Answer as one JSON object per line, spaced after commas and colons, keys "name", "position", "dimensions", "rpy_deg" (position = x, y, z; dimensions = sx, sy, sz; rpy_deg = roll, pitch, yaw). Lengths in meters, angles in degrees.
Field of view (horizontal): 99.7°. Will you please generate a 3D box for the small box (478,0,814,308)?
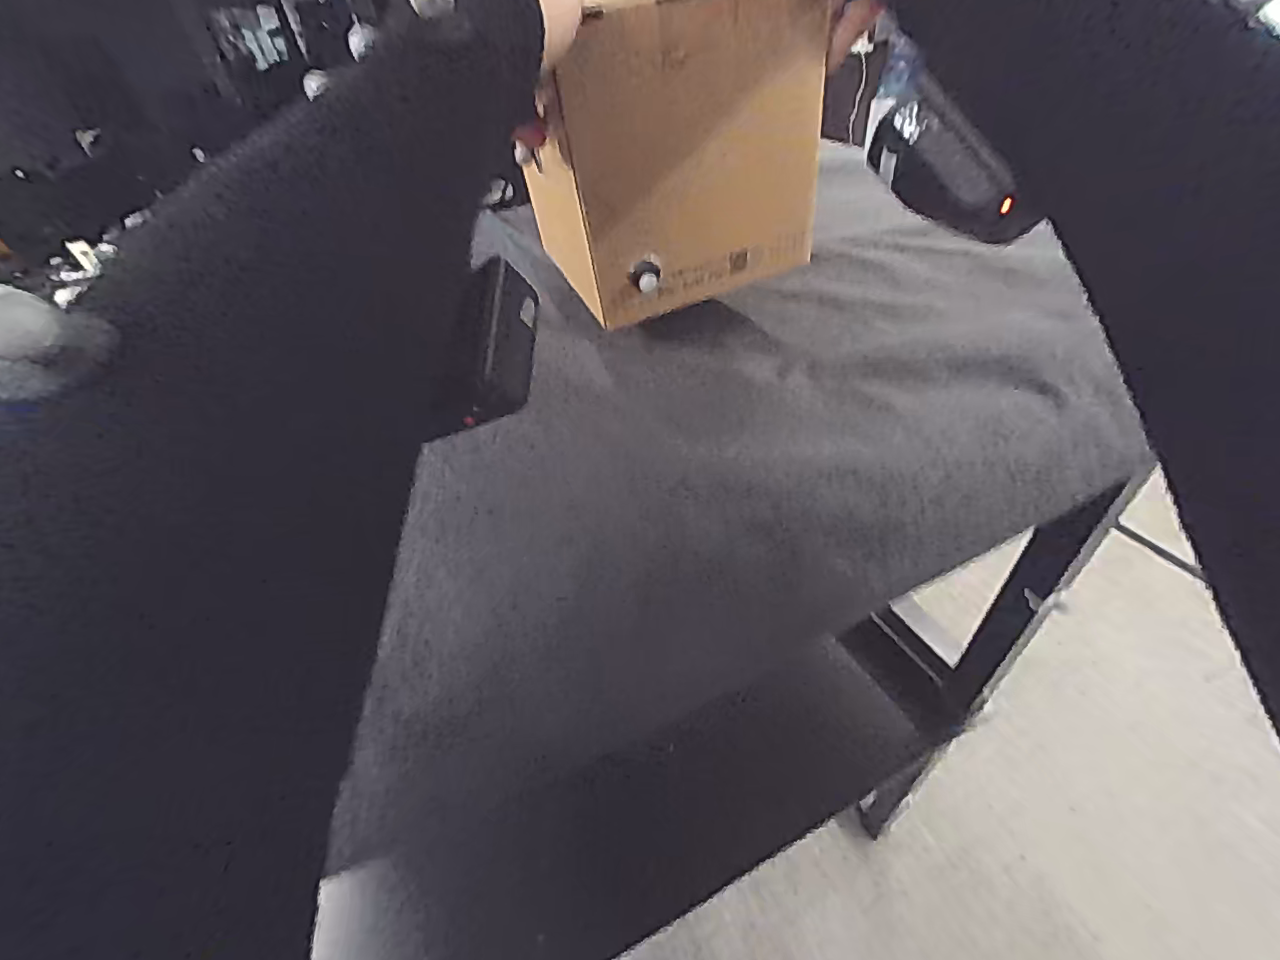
{"name": "small box", "position": [0.006, -0.242, 0.383], "dimensions": [0.168, 0.176, 0.179], "rpy_deg": [-22, 45, -10]}
